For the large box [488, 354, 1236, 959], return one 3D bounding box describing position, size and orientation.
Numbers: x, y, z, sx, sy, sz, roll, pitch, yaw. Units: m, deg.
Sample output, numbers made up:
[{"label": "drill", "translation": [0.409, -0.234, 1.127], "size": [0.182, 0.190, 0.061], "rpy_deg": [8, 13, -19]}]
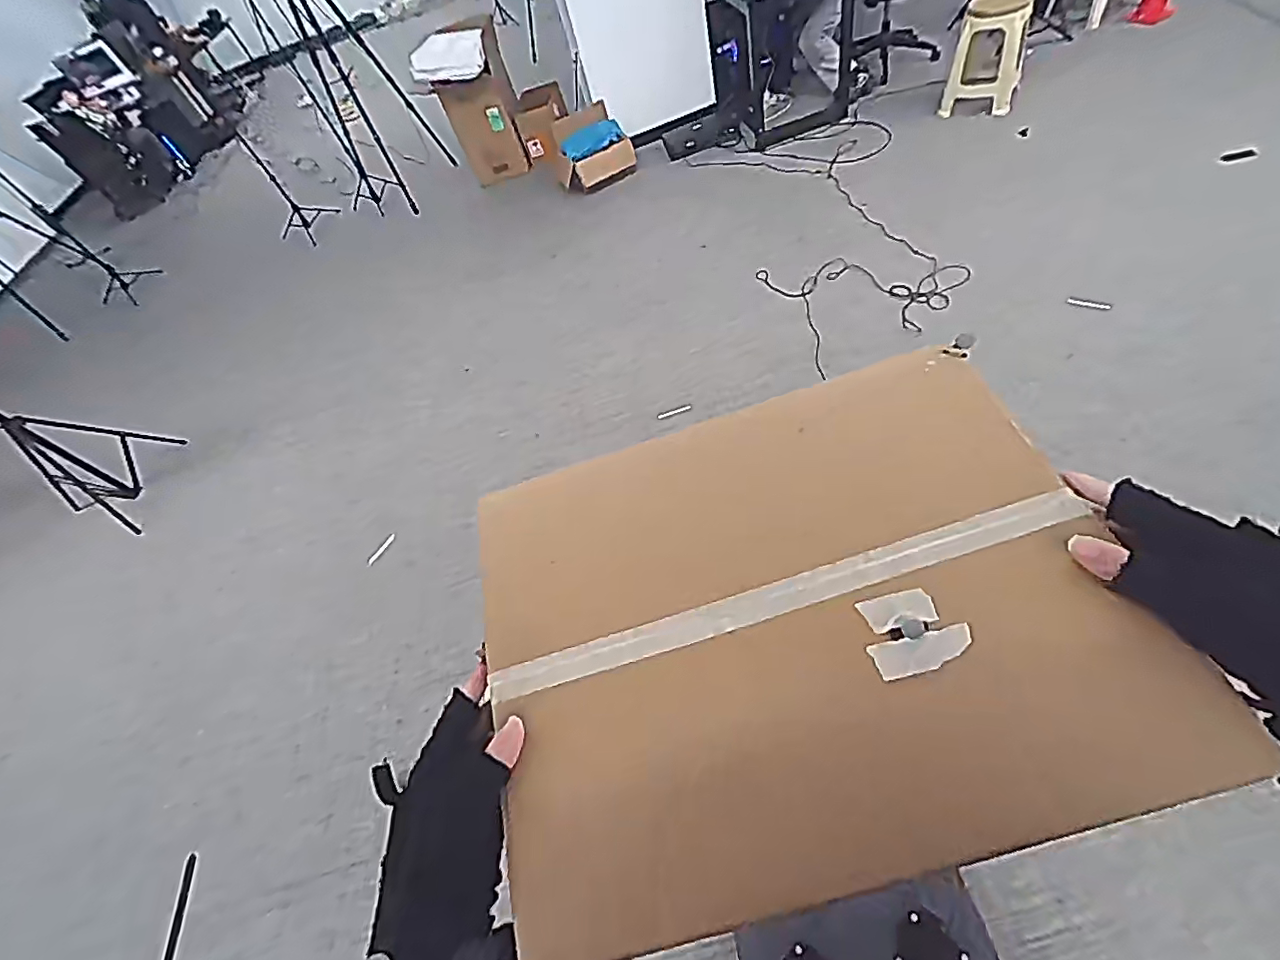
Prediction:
[{"label": "large box", "translation": [0.123, 0.156, 0.498], "size": [0.408, 0.320, 0.320], "rpy_deg": [-19, 58, 2]}]
